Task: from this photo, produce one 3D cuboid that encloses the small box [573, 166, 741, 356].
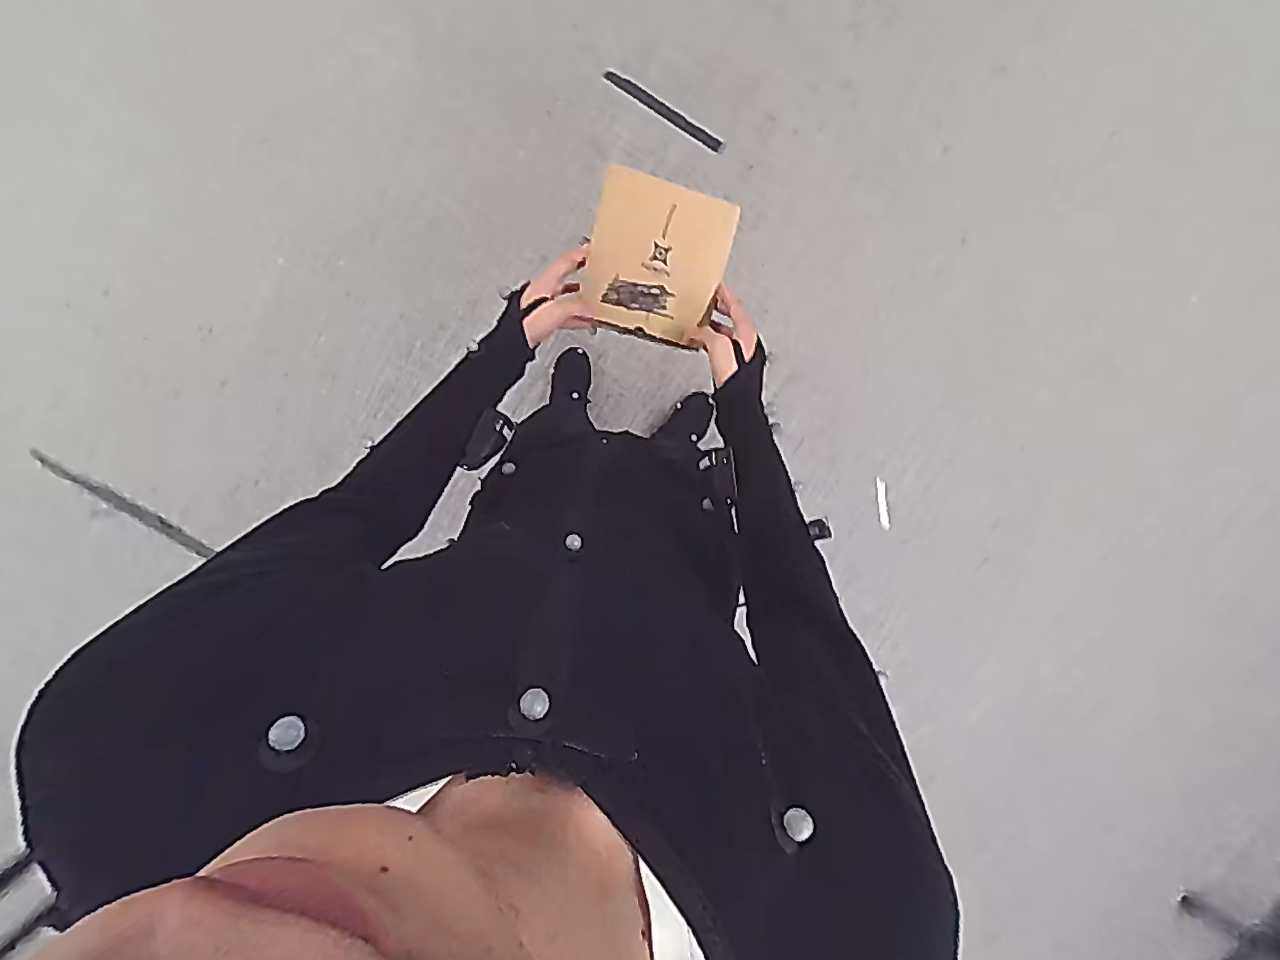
[{"bbox_3d":[0.011,-0.272,0.712,0.168,0.176,0.179,13,102,-11],"label":"small box"}]
